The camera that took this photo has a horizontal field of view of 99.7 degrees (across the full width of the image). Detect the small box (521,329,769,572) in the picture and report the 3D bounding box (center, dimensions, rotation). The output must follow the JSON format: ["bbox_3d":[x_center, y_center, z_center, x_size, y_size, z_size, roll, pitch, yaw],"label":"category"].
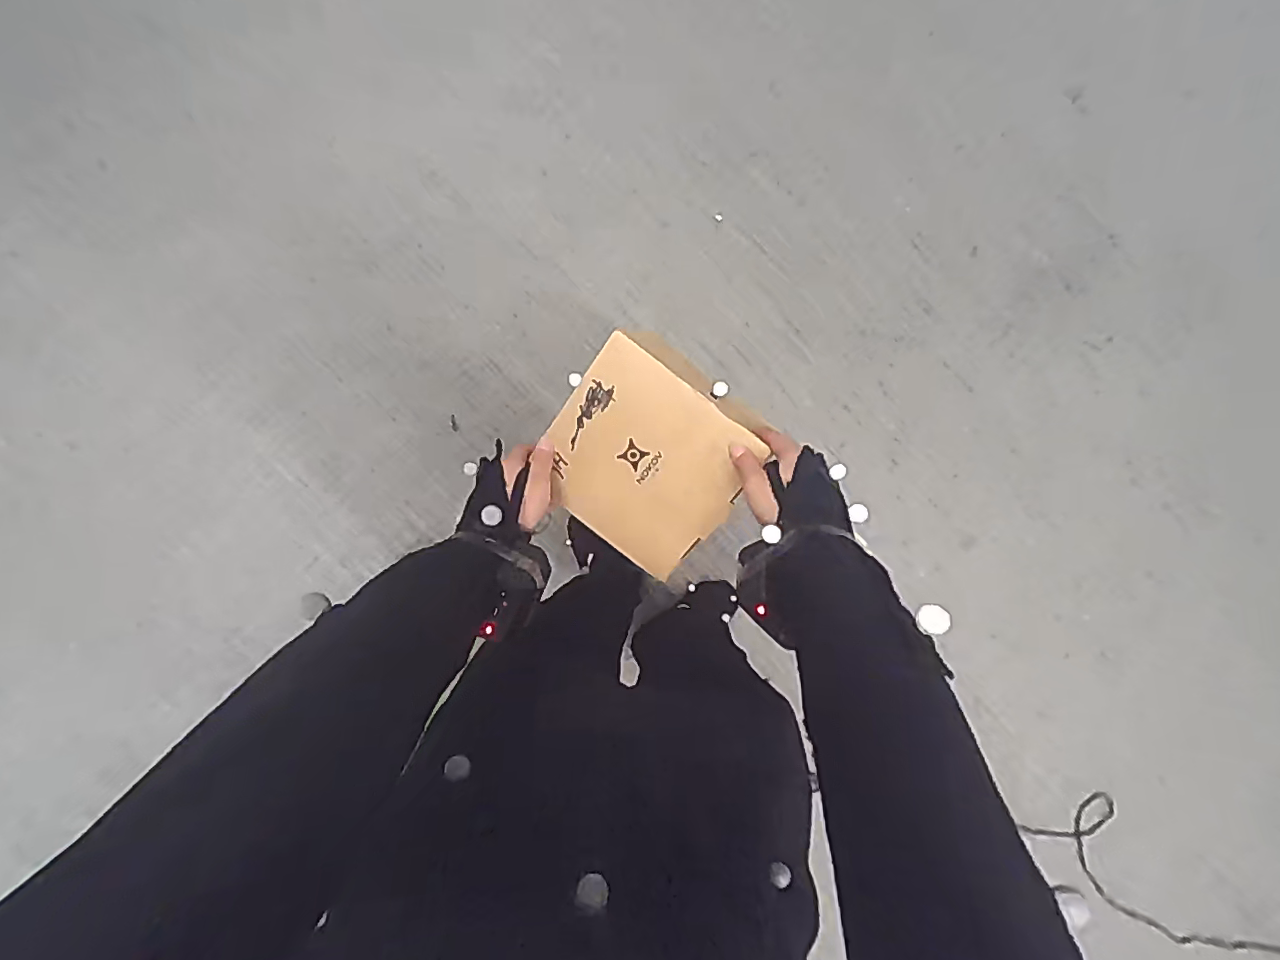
[{"bbox_3d":[0.015,-0.042,0.568,0.179,0.176,0.168,38,108,1],"label":"small box"}]
